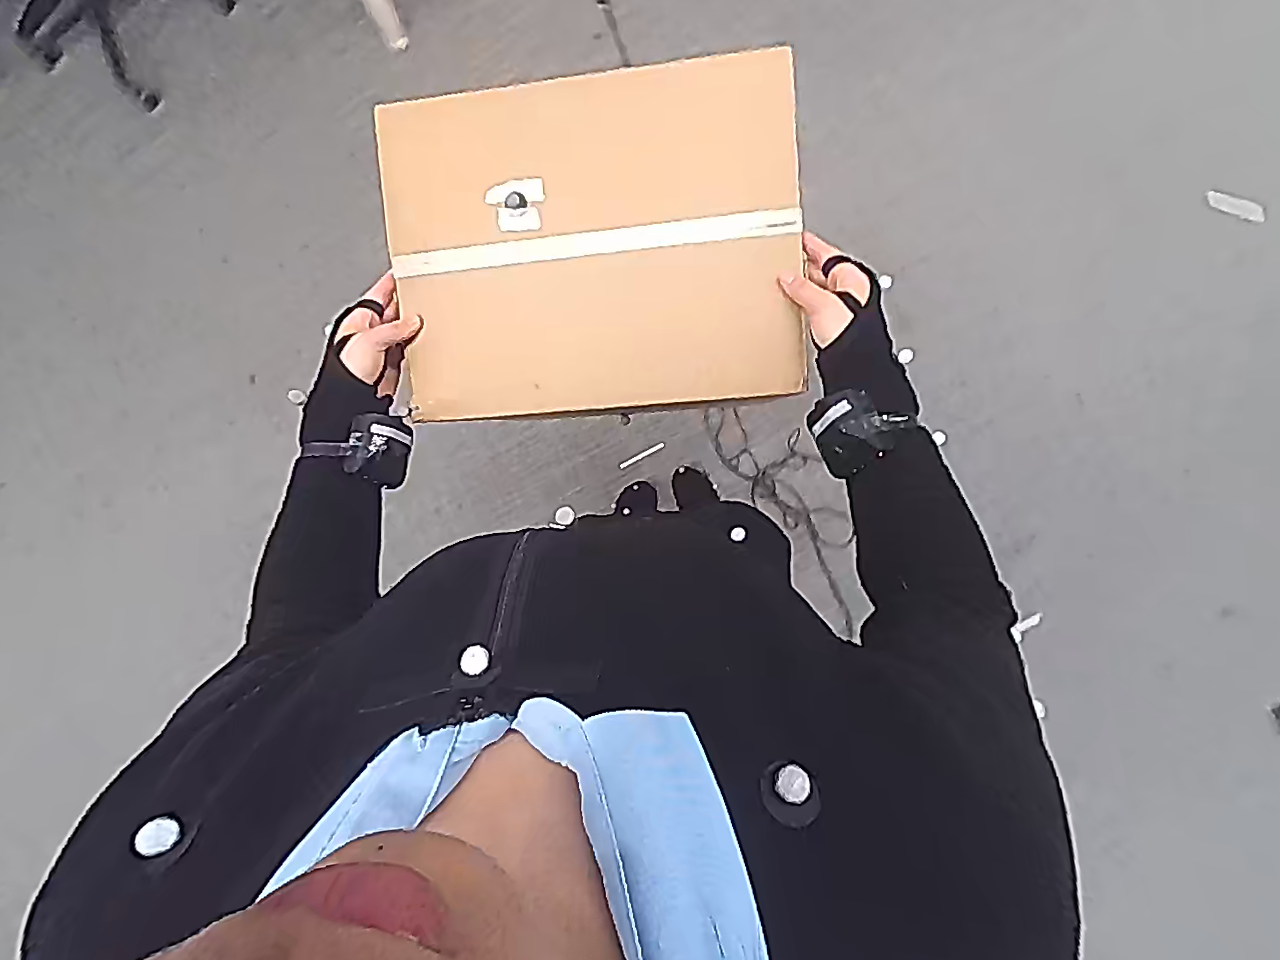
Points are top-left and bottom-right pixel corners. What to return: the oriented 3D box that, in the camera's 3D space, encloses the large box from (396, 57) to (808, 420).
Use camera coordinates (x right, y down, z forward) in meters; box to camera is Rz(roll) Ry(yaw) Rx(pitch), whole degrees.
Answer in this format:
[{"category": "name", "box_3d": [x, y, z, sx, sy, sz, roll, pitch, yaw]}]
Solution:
[{"category": "large box", "box_3d": [-0.024, -0.247, 0.687, 0.408, 0.320, 0.320, -3, 95, 7]}]
